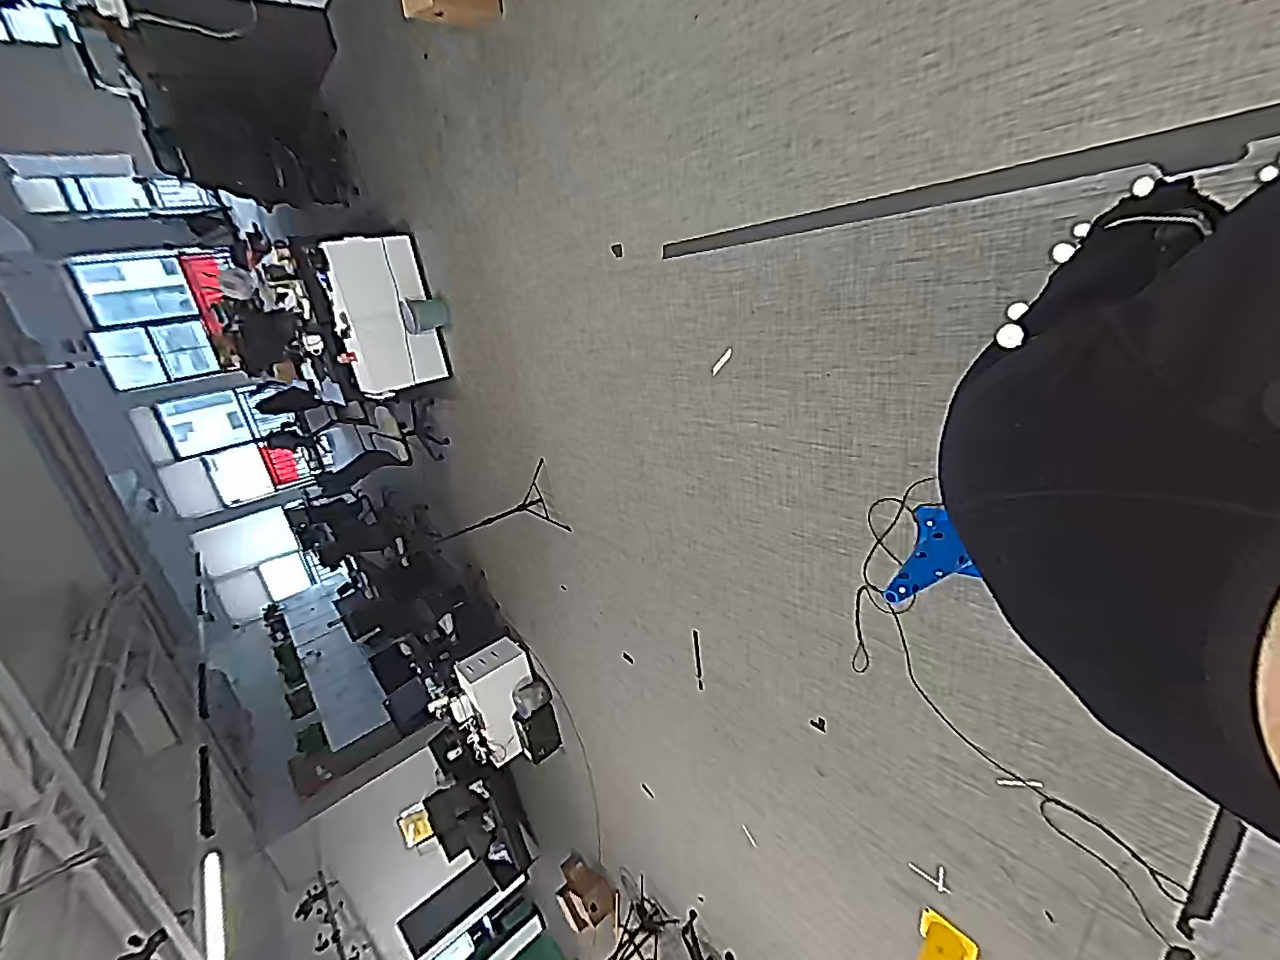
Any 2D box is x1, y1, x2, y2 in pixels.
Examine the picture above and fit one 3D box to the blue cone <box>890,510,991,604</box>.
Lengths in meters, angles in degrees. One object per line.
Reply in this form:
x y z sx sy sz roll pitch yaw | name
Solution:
0.777 0.232 1.462 0.192 0.380 0.193 10 117 51 | blue cone
